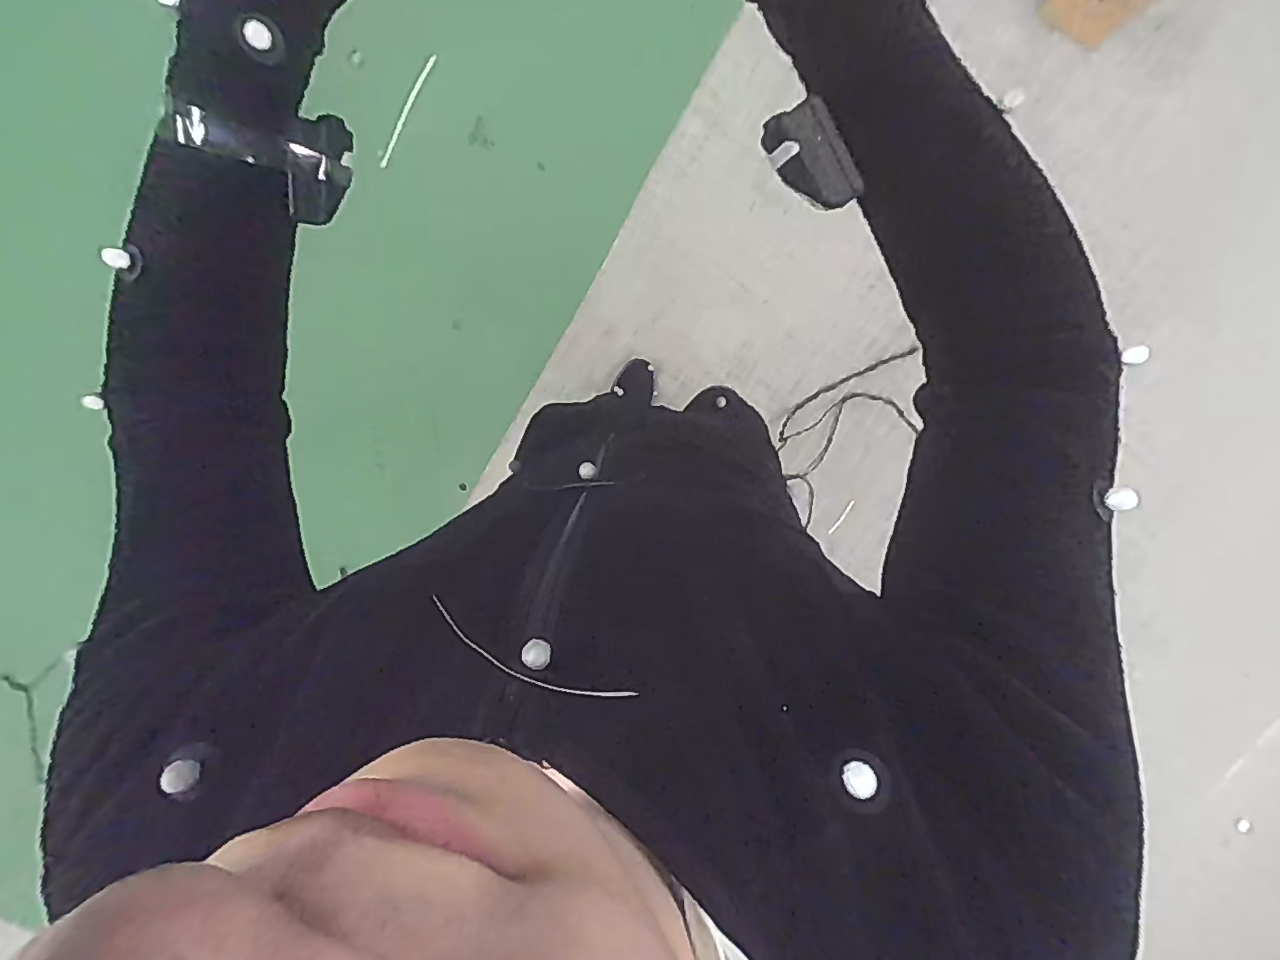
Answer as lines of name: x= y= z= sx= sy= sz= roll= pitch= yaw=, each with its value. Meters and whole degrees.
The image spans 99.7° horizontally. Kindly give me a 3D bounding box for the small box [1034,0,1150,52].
small box: x=1.091 y=-1.167 z=1.271 sx=0.179 sy=0.176 sz=0.168 roll=31 pitch=101 yaw=-3
